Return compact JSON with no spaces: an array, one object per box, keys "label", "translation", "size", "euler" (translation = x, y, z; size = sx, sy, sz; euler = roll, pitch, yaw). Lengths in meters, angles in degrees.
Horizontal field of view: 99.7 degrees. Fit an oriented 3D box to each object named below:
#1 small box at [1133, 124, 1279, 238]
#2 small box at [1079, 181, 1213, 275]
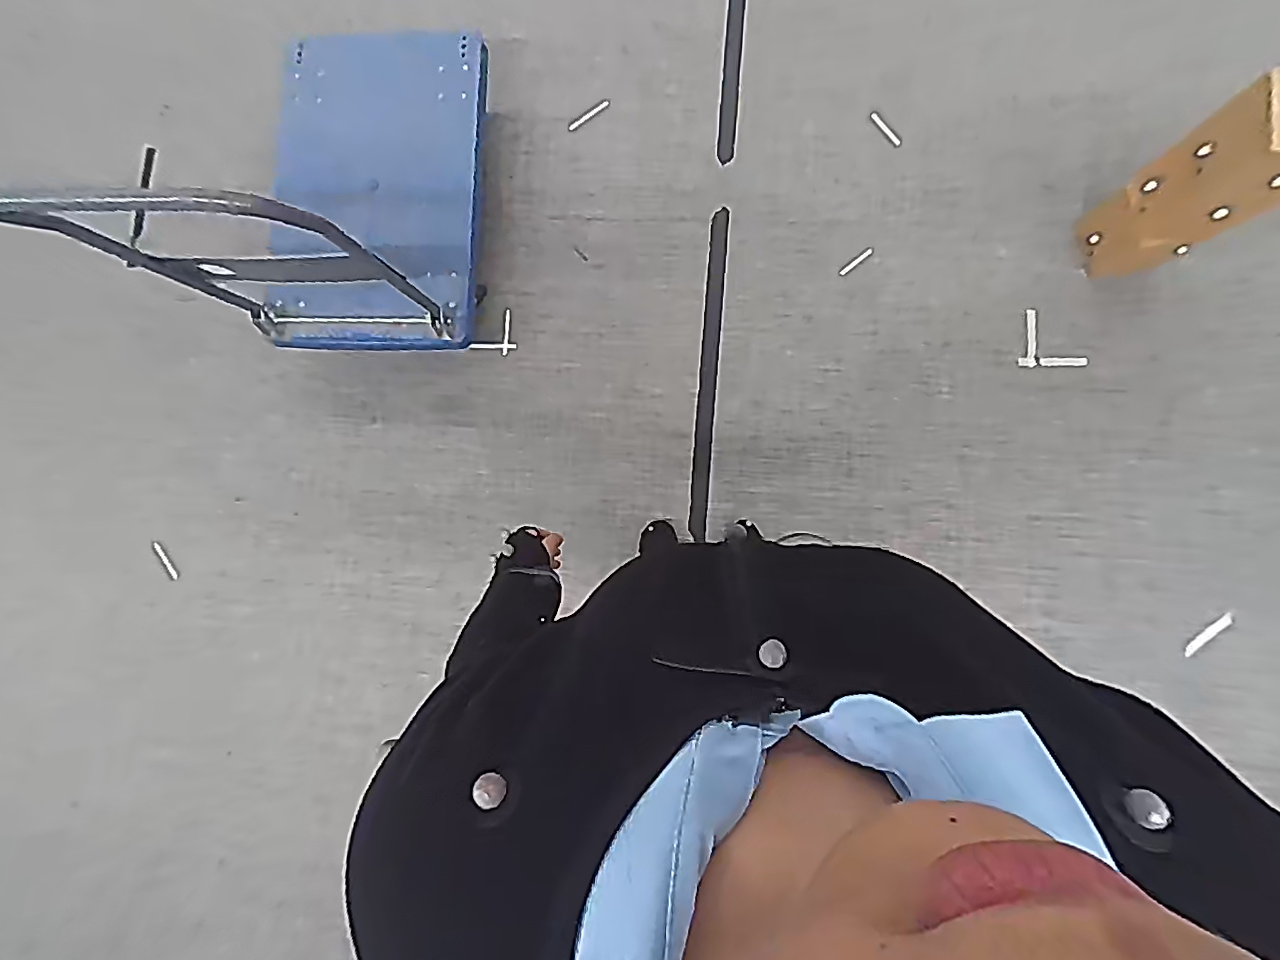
[{"label":"small box","translation":[1.274,-0.665,1.217],"size":[0.179,0.176,0.168],"euler":[4,87,6]},{"label":"small box","translation":[1.282,-0.647,1.379],"size":[0.179,0.176,0.168],"euler":[-8,85,5]}]
